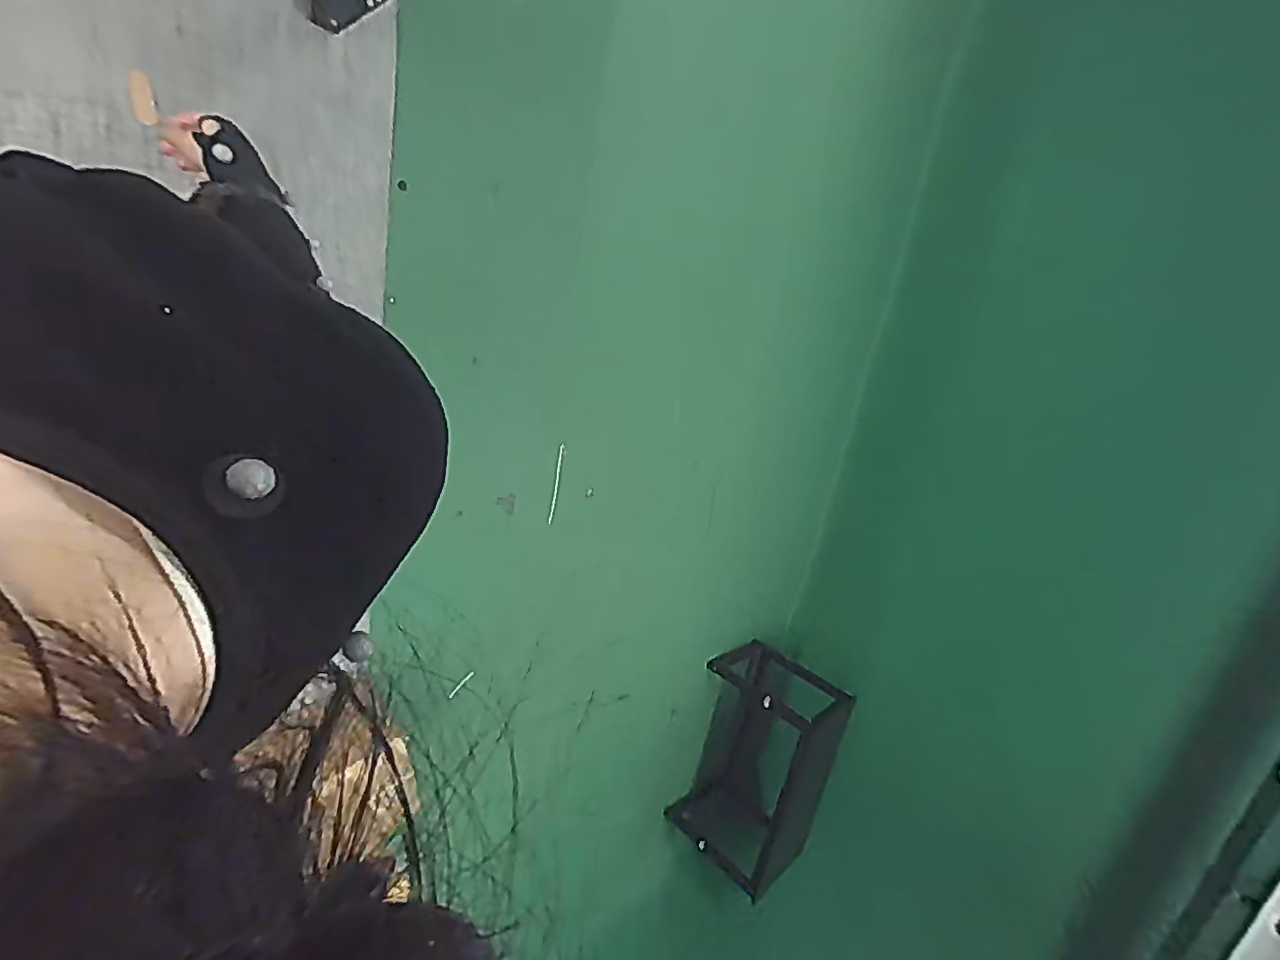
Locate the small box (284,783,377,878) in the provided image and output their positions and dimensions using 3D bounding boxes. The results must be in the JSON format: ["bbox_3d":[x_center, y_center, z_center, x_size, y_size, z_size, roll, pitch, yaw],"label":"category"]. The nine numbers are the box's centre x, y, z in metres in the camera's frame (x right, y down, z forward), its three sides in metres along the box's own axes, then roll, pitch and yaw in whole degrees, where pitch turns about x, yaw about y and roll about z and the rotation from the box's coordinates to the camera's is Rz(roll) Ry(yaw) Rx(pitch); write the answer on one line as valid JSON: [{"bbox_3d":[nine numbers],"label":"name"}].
[{"bbox_3d":[-0.777,0.908,1.368,0.168,0.176,0.179,-16,120,-42],"label":"small box"}]

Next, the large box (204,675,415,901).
[{"bbox_3d":[-0.934,0.851,1.554,0.408,0.320,0.320,-24,126,-41],"label":"large box"}]

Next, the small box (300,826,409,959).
[{"bbox_3d":[-0.666,0.965,1.265,0.179,0.176,0.168,-15,119,-43],"label":"small box"}]
